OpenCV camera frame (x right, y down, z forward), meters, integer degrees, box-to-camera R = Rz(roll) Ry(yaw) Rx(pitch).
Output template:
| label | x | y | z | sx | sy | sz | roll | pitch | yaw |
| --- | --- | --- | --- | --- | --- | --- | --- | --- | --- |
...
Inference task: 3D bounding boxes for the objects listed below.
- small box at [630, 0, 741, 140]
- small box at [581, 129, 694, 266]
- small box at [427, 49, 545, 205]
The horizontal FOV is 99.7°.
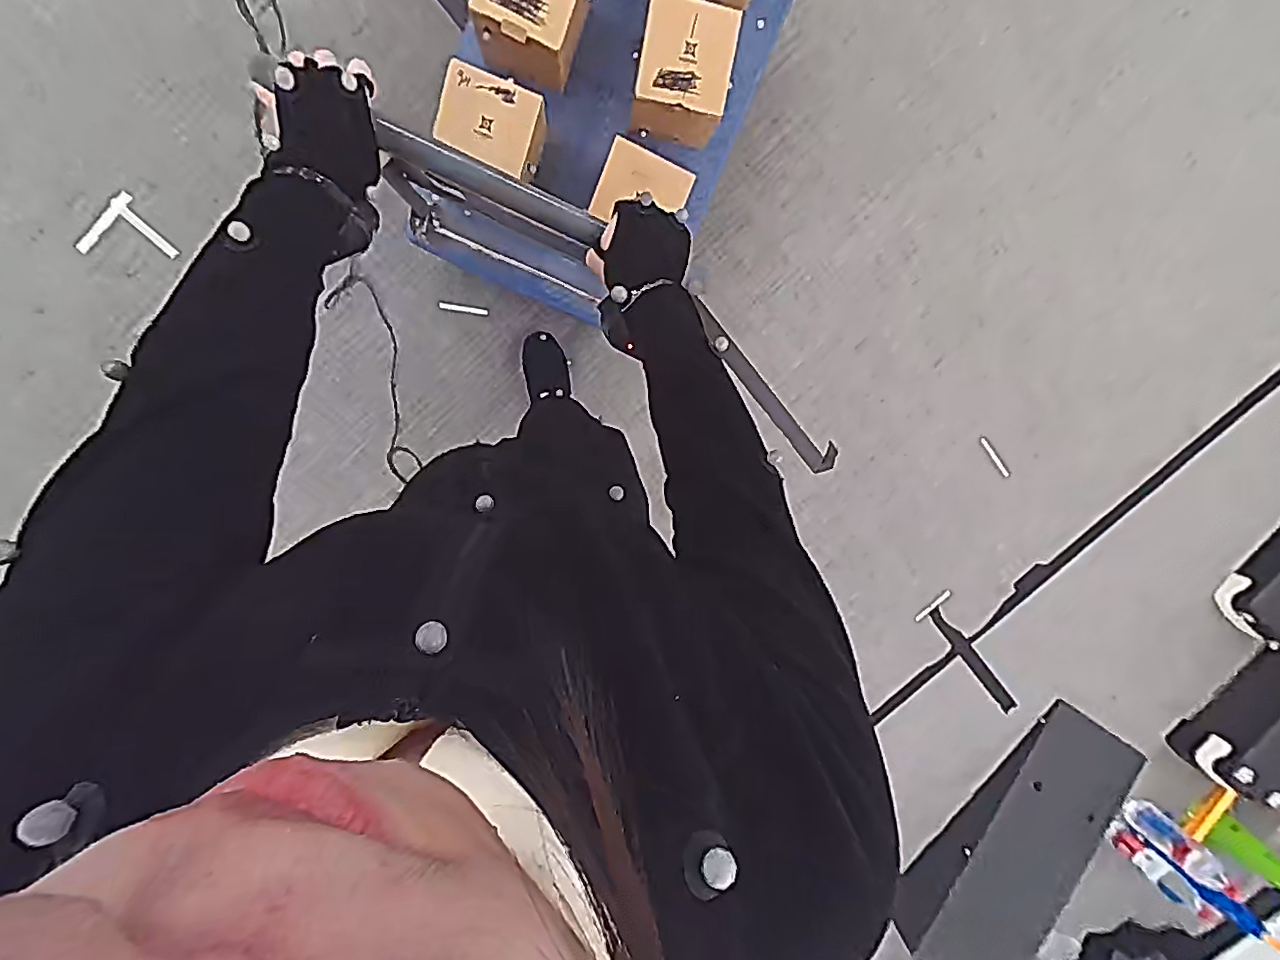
| label | x | y | z | sx | sy | sz | roll | pitch | yaw |
| --- | --- | --- | --- | --- | --- | --- | --- | --- | --- |
| small box | 0.078 | -0.791 | 1.042 | 0.168 | 0.176 | 0.179 | 9 | 102 | -9 |
| small box | -0.011 | -0.554 | 1.093 | 0.168 | 0.176 | 0.179 | 22 | 100 | -12 |
| small box | -0.285 | -0.656 | 1.034 | 0.168 | 0.176 | 0.179 | 18 | 102 | -11 |
